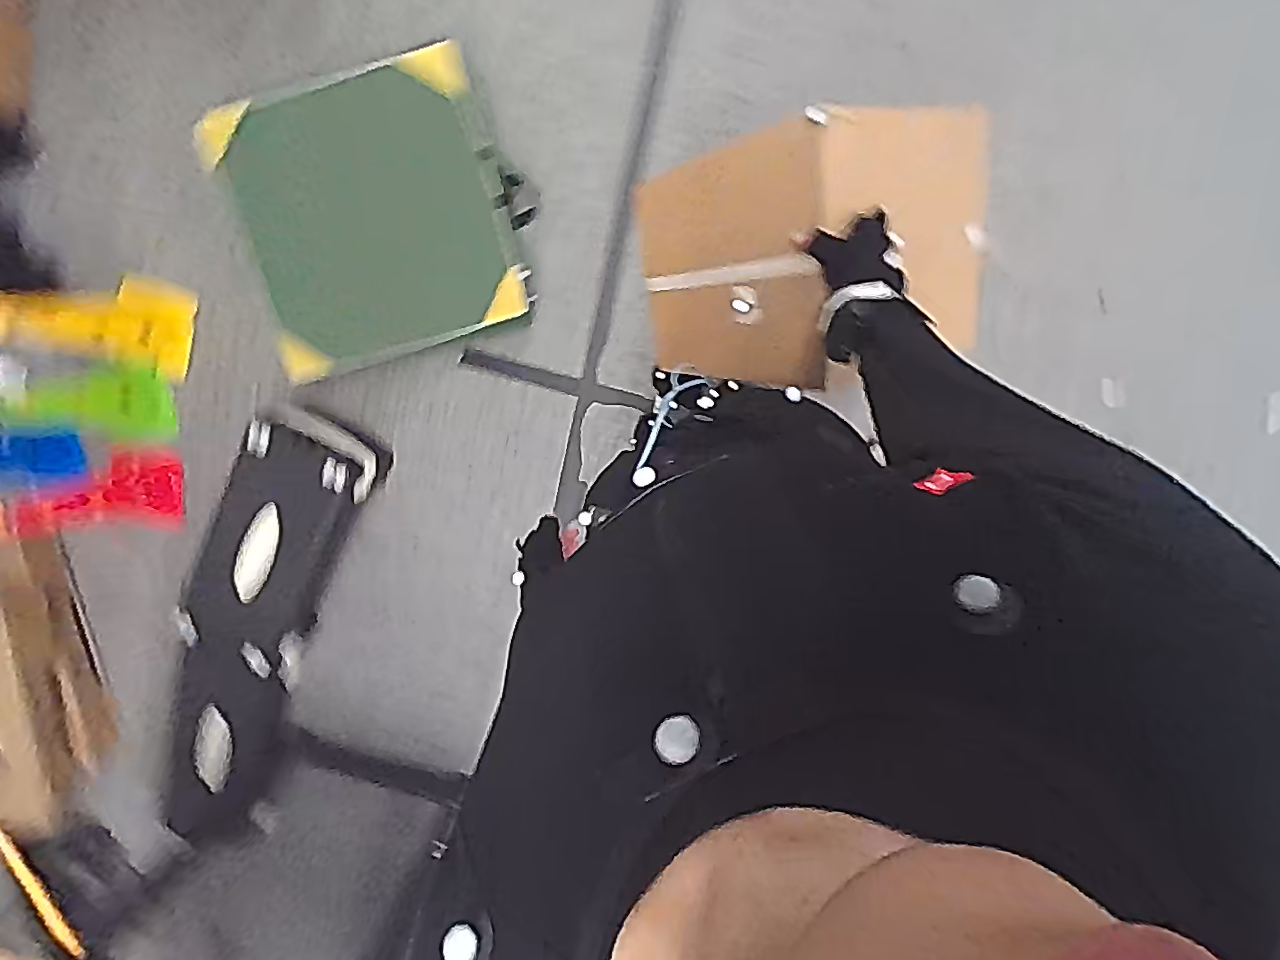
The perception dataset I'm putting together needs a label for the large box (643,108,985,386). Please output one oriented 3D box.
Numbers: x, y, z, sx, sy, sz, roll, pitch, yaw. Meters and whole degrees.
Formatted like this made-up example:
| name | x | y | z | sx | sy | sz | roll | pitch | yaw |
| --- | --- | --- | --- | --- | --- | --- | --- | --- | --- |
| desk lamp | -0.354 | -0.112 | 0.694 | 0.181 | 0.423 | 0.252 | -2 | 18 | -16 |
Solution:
| name | x | y | z | sx | sy | sz | roll | pitch | yaw |
| --- | --- | --- | --- | --- | --- | --- | --- | --- | --- |
| large box | 0.249 | -0.348 | 0.863 | 0.320 | 0.408 | 0.320 | -19 | 114 | -25 |
